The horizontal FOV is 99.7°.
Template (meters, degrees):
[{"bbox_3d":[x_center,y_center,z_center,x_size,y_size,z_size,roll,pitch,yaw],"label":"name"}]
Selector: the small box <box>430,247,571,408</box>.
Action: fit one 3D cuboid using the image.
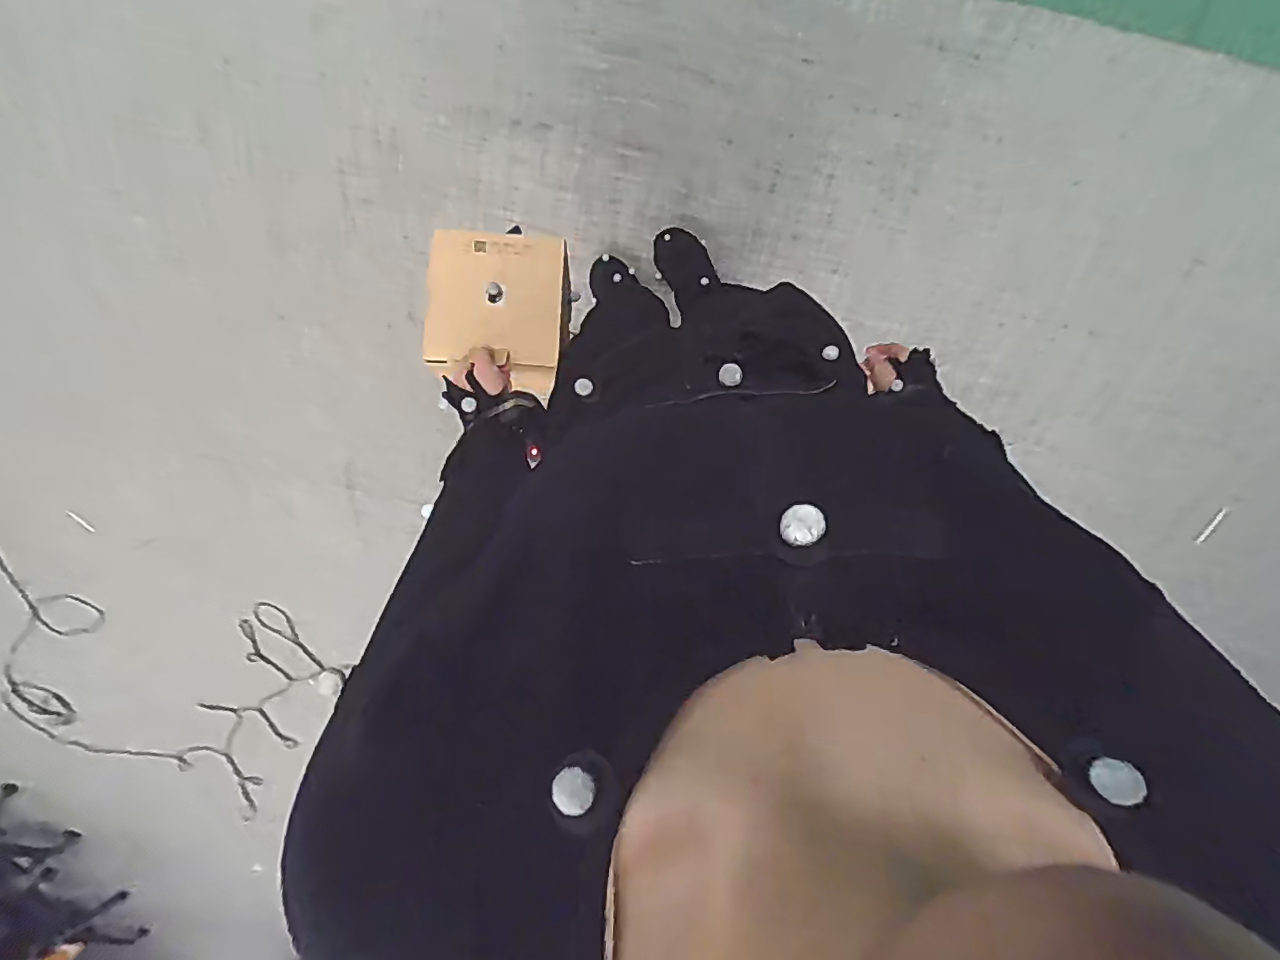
[{"bbox_3d":[-0.183,-0.204,0.754,0.168,0.179,0.176,1,84,-4],"label":"small box"}]
